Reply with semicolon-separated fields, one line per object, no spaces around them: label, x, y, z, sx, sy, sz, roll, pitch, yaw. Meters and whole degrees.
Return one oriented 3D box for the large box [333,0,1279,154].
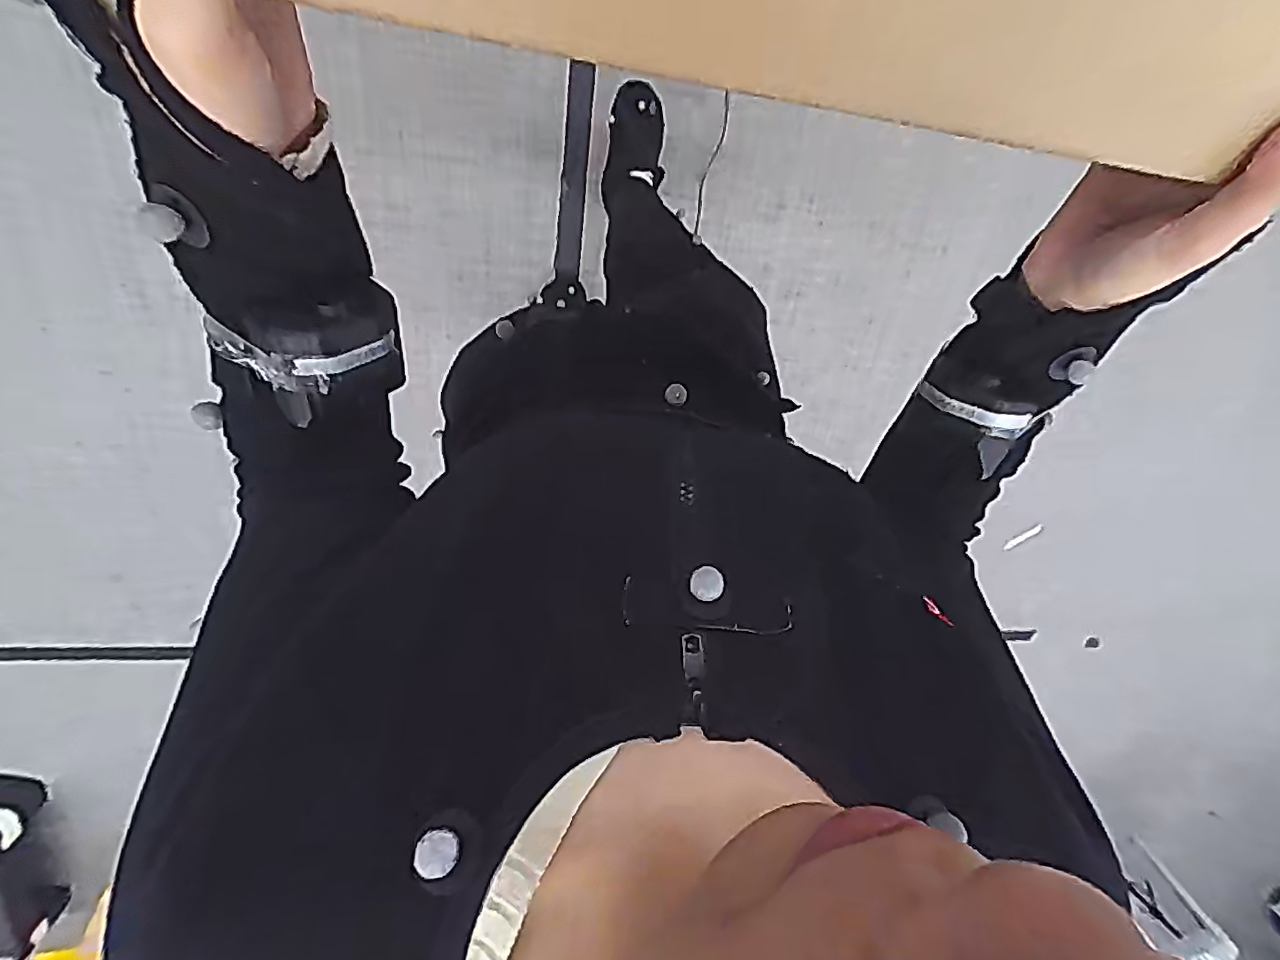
large box;0.083;-0.348;0.152;0.408;0.320;0.320;3;146;-11
